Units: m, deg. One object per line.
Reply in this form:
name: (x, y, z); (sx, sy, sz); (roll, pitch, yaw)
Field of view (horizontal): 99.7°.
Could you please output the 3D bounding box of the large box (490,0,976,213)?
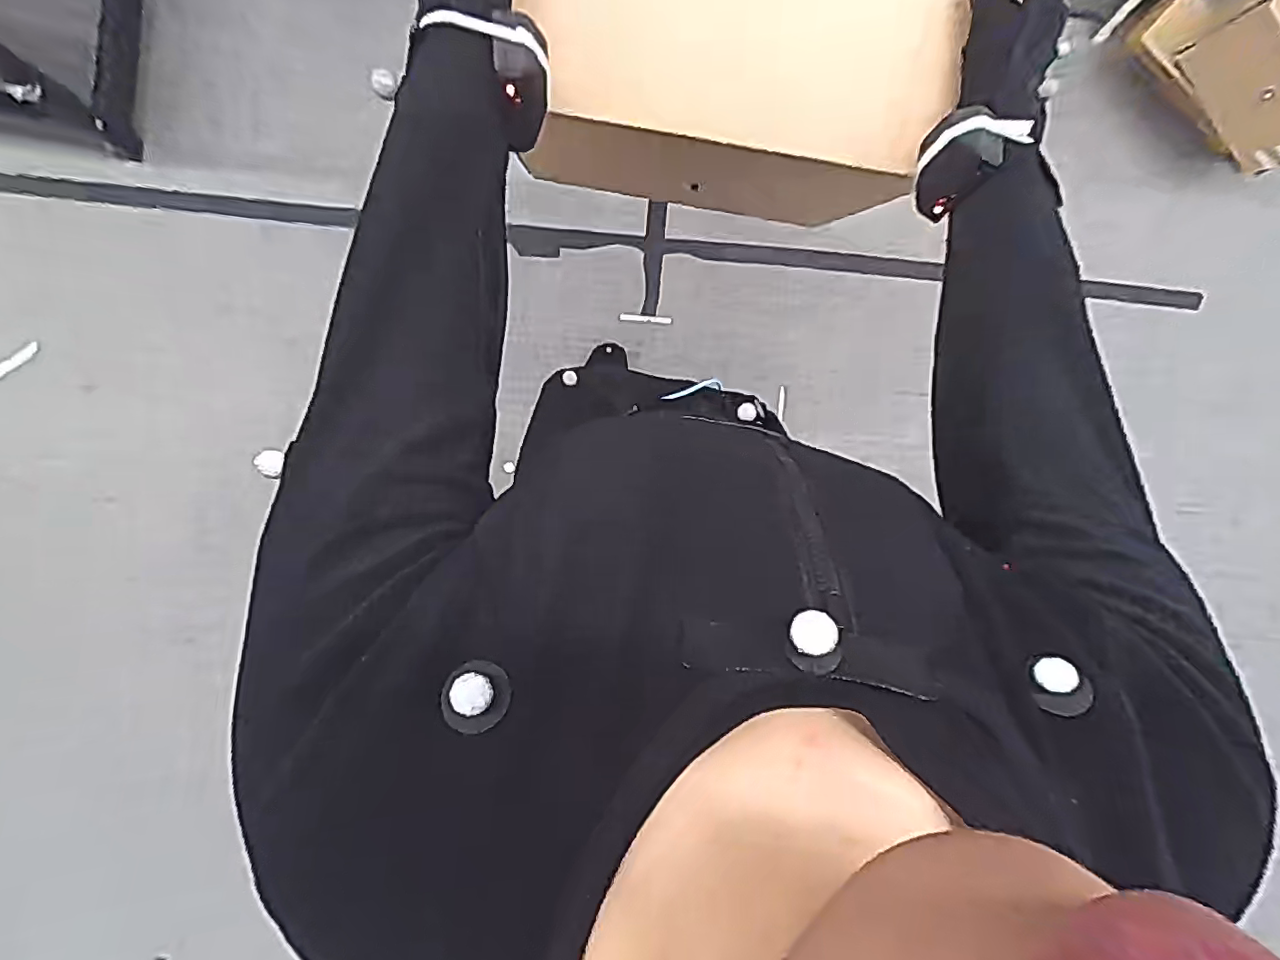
large box: (0.083, -0.492, 0.566); (0.408, 0.320, 0.320); (7, 107, -6)
